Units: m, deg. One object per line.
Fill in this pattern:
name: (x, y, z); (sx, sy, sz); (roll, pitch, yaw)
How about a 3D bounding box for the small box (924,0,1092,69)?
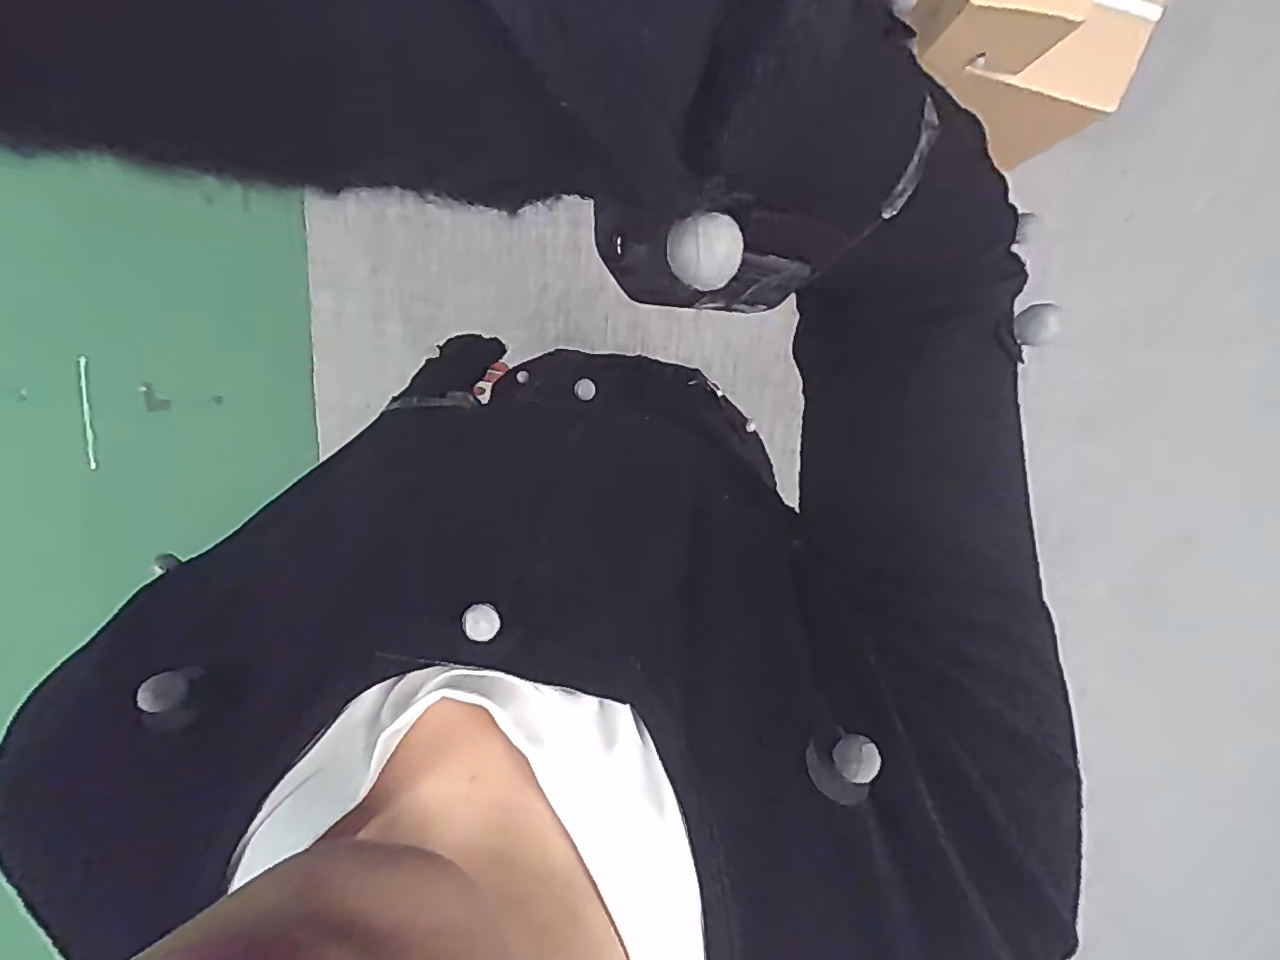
small box: (0.592, -0.789, 0.855); (0.179, 0.176, 0.168); (10, 105, 1)
